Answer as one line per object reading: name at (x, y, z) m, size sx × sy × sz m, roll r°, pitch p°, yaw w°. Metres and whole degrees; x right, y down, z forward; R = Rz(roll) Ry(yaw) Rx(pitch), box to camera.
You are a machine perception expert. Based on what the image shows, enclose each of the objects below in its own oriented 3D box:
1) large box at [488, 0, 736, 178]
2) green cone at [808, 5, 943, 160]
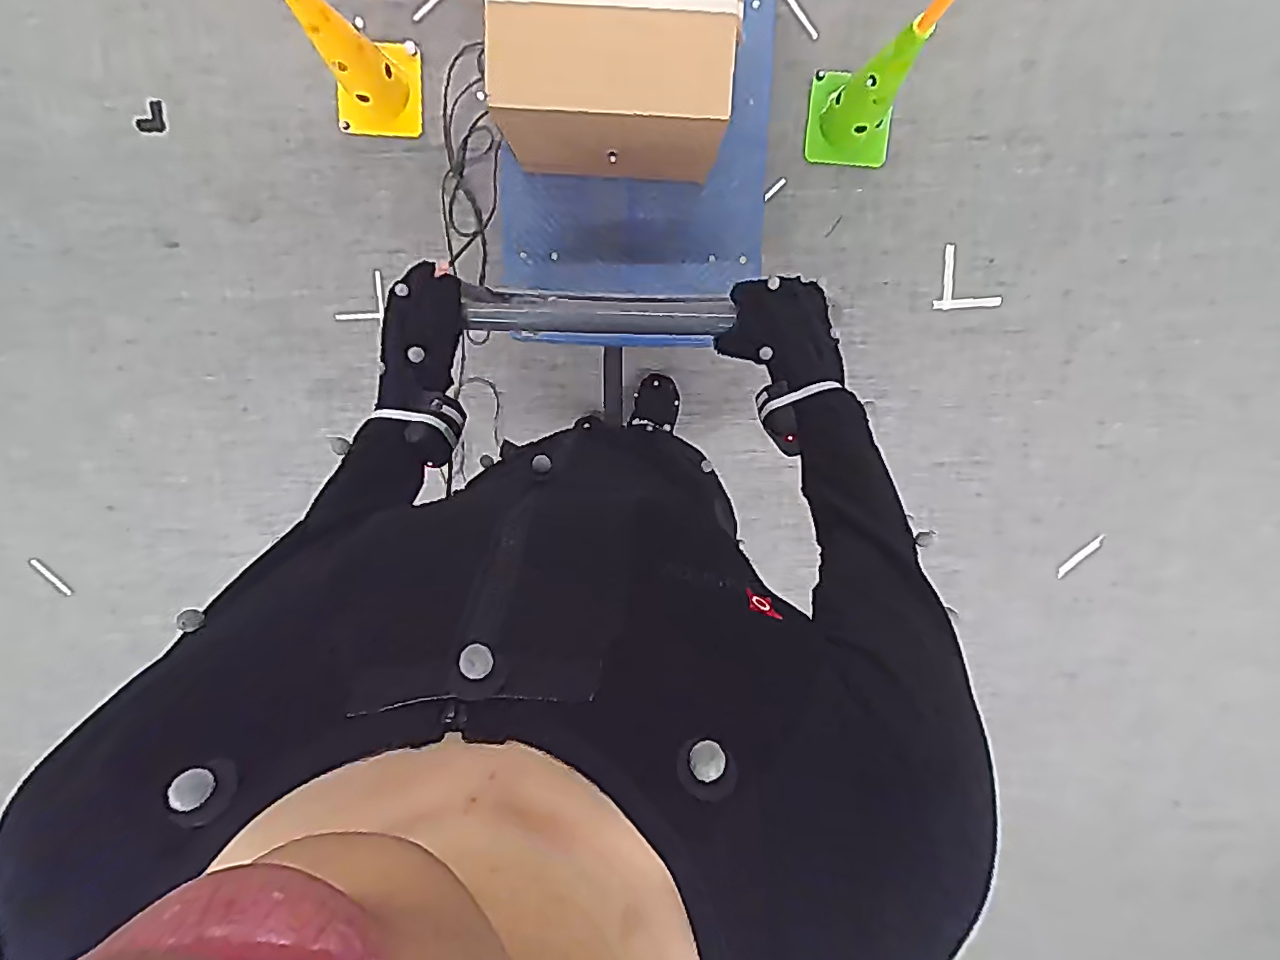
large box at (-0.042, -0.782, 1.008) m, size 0.408 × 0.320 × 0.320 m, roll 3°, pitch 101°, yaw 0°
green cone at (0.513, -0.853, 1.136) m, size 0.202 × 0.368 × 0.200 m, roll 3°, pitch 101°, yaw -2°
